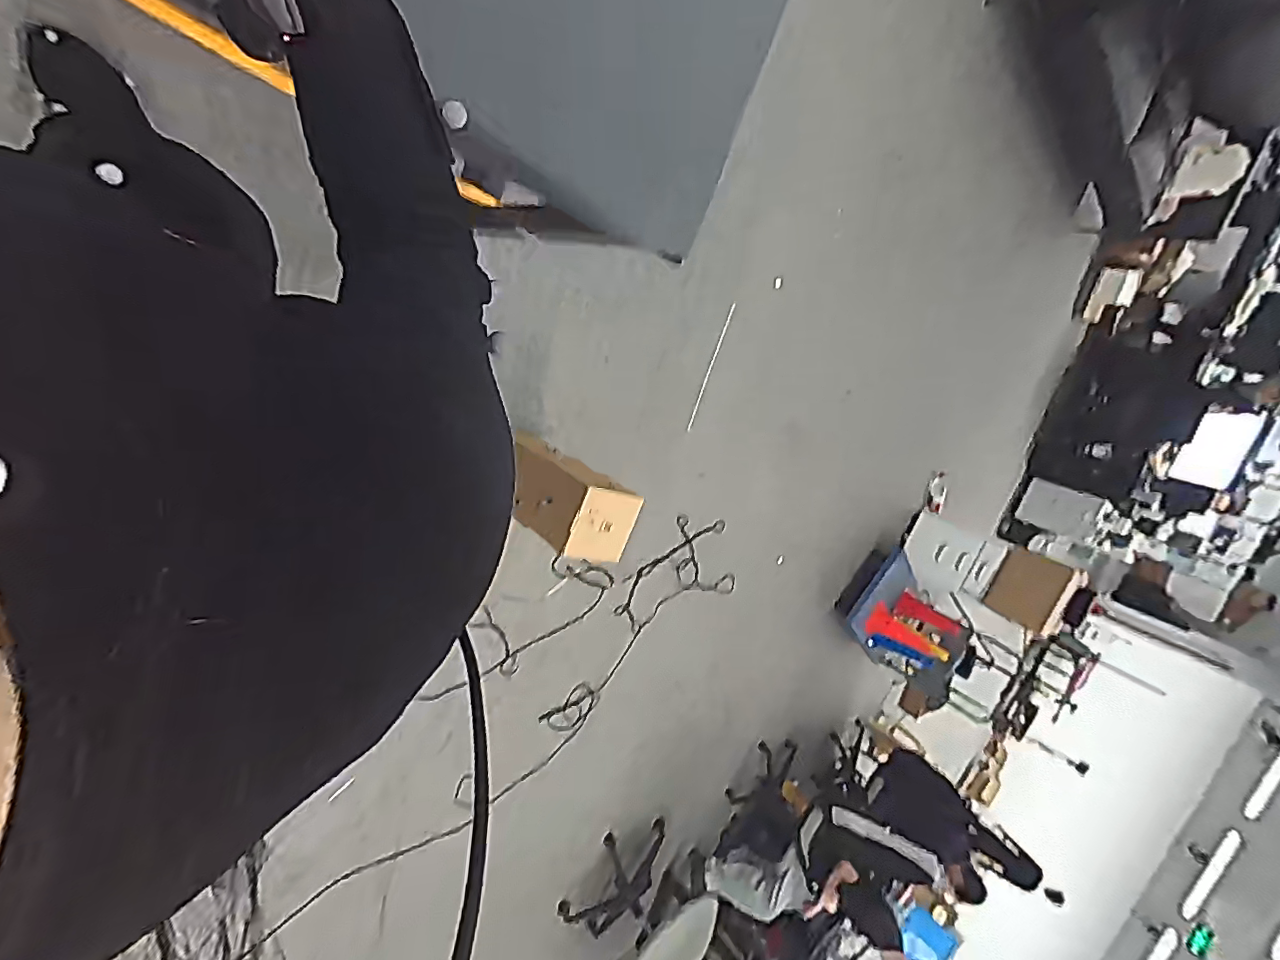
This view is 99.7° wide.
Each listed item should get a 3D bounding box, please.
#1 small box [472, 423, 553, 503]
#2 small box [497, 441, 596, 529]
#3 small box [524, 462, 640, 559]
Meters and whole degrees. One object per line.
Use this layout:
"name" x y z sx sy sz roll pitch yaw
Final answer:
"small box" -0.341 -0.036 1.494 0.168 0.176 0.179 16 101 -45
"small box" -0.243 0.018 1.377 0.168 0.176 0.179 12 102 -45
"small box" -0.137 0.069 1.261 0.179 0.176 0.168 14 101 -45
